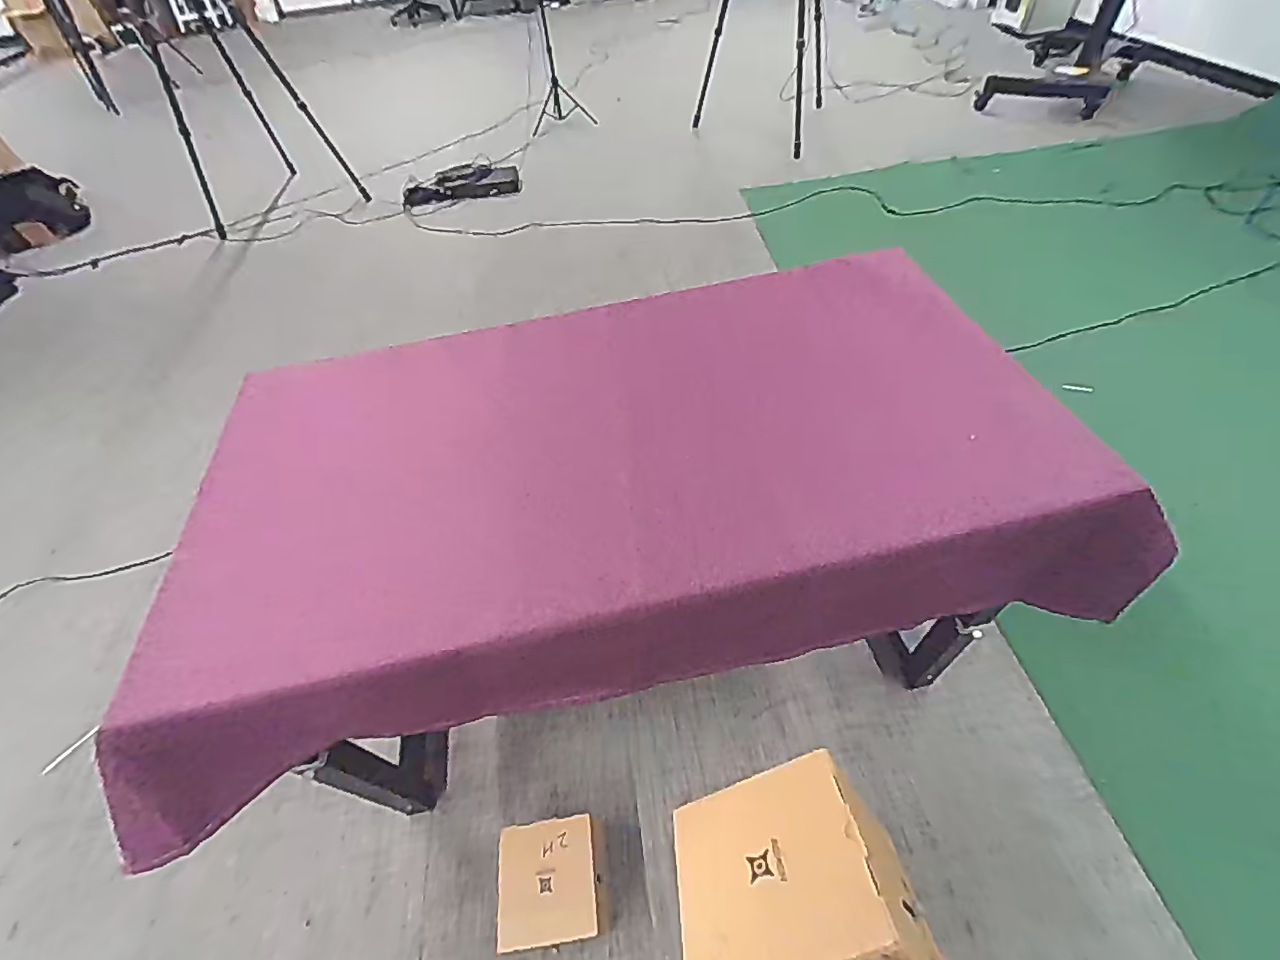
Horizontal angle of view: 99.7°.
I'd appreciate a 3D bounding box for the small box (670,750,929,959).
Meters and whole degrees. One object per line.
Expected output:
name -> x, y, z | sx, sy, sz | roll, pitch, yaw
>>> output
small box -> 0.146, 0.405, 0.509 | 0.179, 0.176, 0.168 | -30, 20, 12
